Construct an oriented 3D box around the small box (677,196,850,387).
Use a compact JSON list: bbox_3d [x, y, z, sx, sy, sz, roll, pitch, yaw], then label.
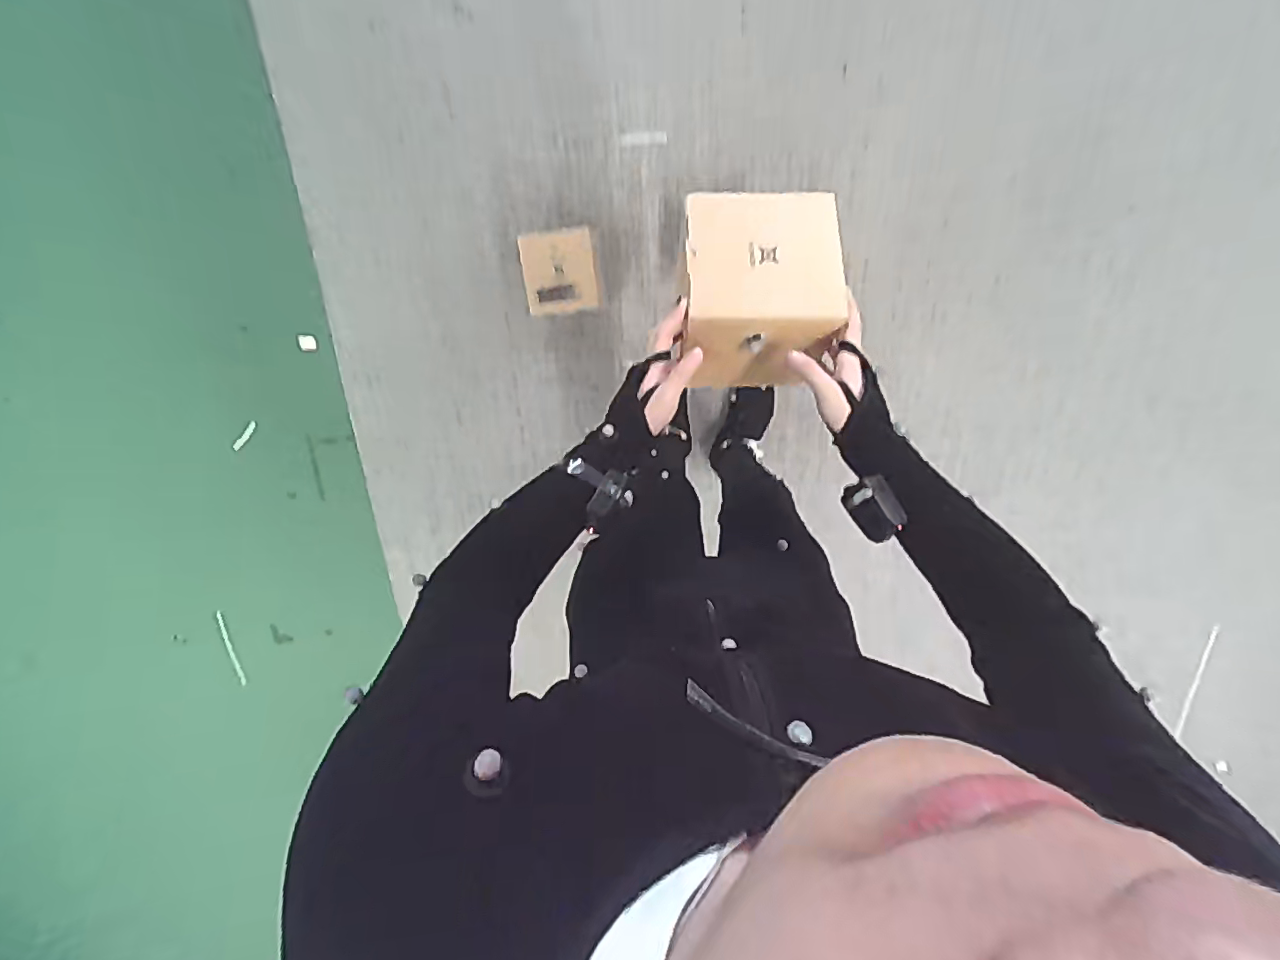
[{"bbox_3d":[0.140,-0.224,0.676,0.179,0.176,0.168,-1,75,1],"label":"small box"}]
